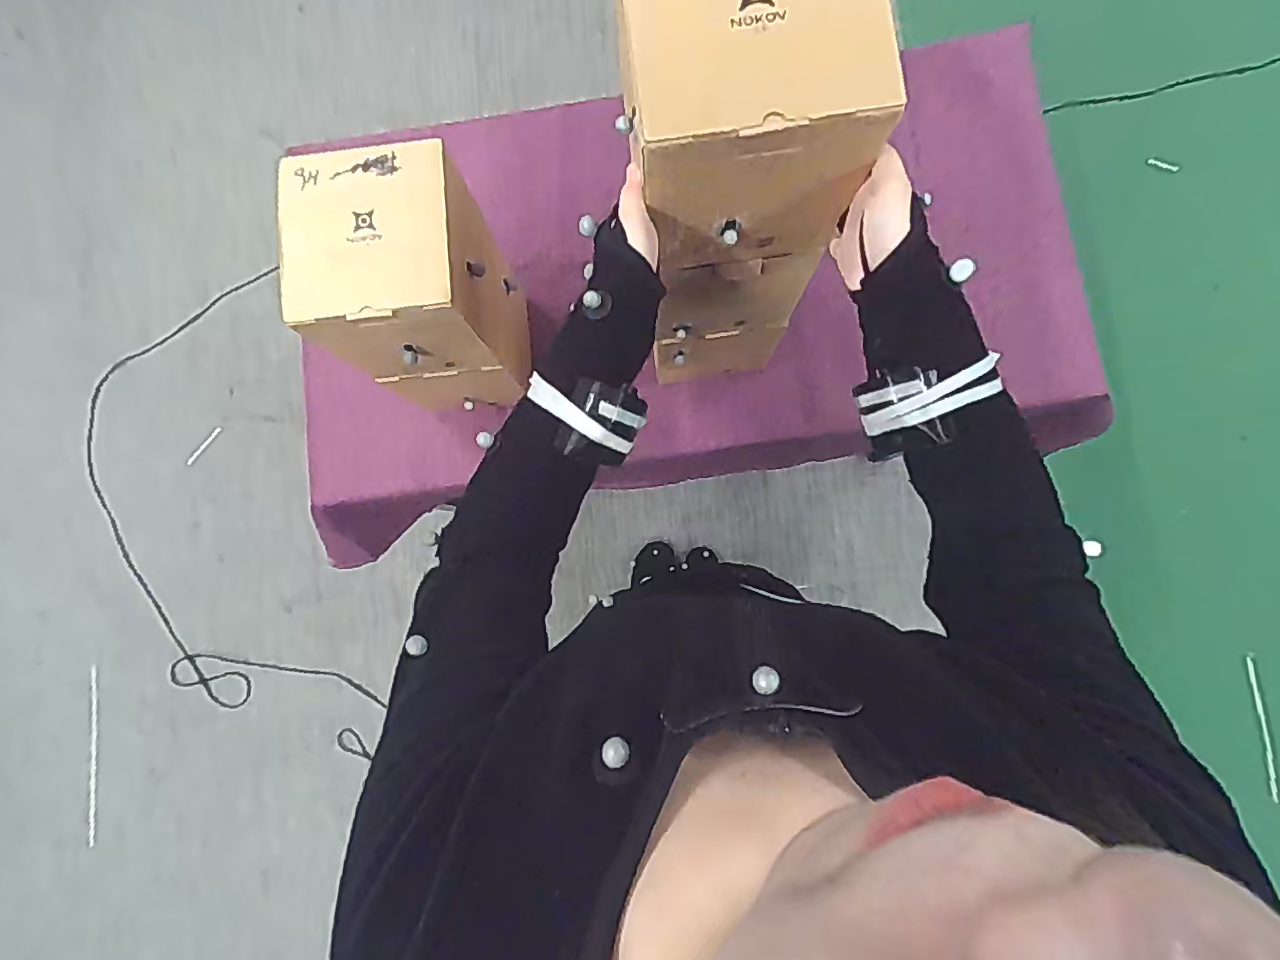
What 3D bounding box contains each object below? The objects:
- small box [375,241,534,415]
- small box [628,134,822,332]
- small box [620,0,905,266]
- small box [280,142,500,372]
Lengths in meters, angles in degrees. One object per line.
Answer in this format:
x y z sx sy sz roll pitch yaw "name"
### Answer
-0.253 -0.203 0.761 0.168 0.176 0.179 -7 83 2 "small box"
0.083 -0.276 0.590 0.168 0.176 0.179 -8 81 2 "small box"
0.074 -0.296 0.420 0.168 0.176 0.179 -8 86 1 "small box"
-0.261 -0.227 0.598 0.168 0.176 0.179 -6 83 1 "small box"
